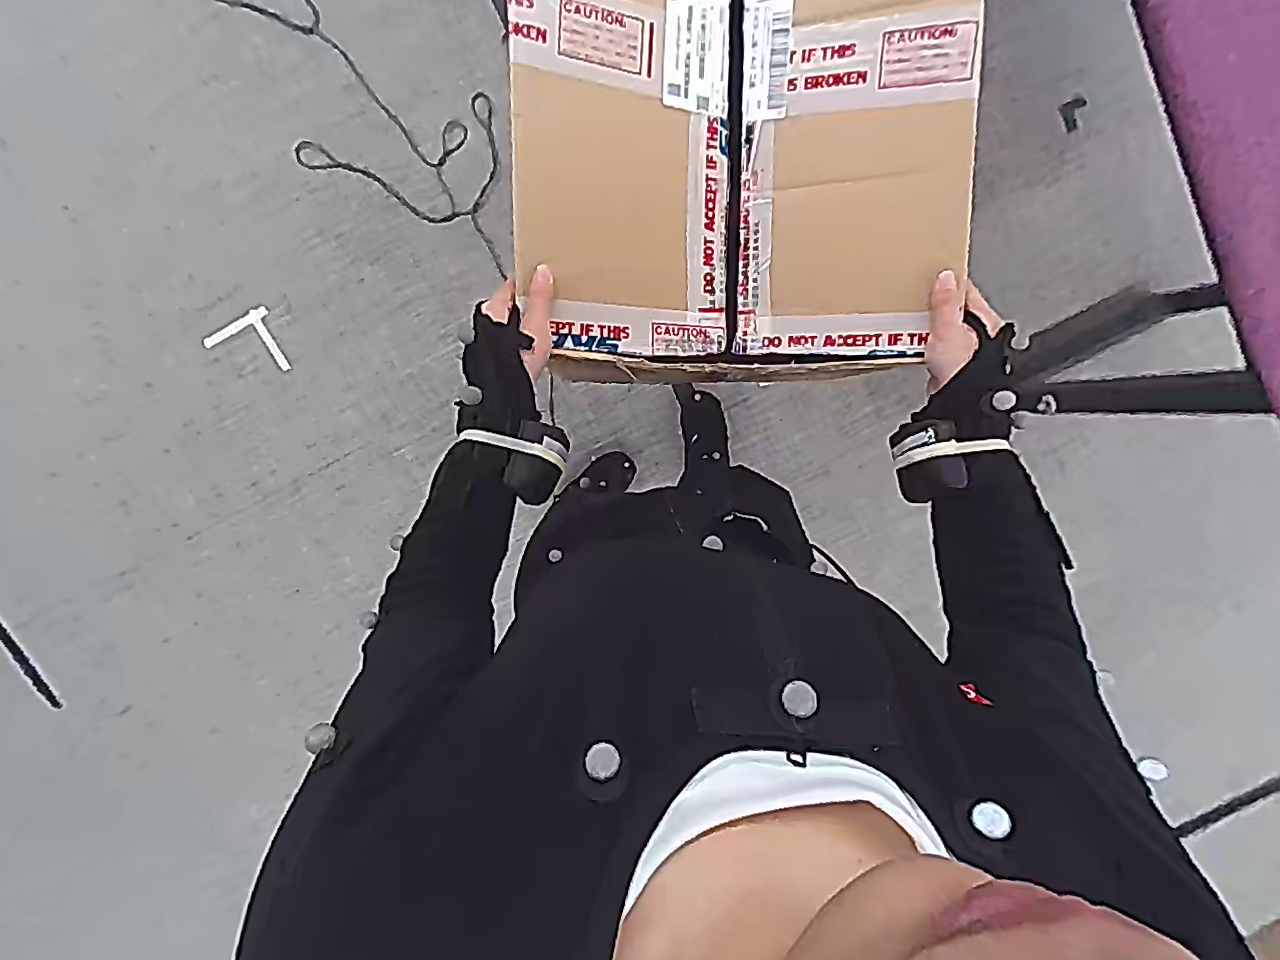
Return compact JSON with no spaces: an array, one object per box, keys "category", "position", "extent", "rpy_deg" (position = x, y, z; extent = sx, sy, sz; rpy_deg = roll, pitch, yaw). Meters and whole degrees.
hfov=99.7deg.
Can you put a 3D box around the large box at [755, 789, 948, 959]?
[{"category":"large box","position":[0.544,1.112,1.383],"extent":[0.320,0.320,0.408],"rpy_deg":[-28,96,2]}]
